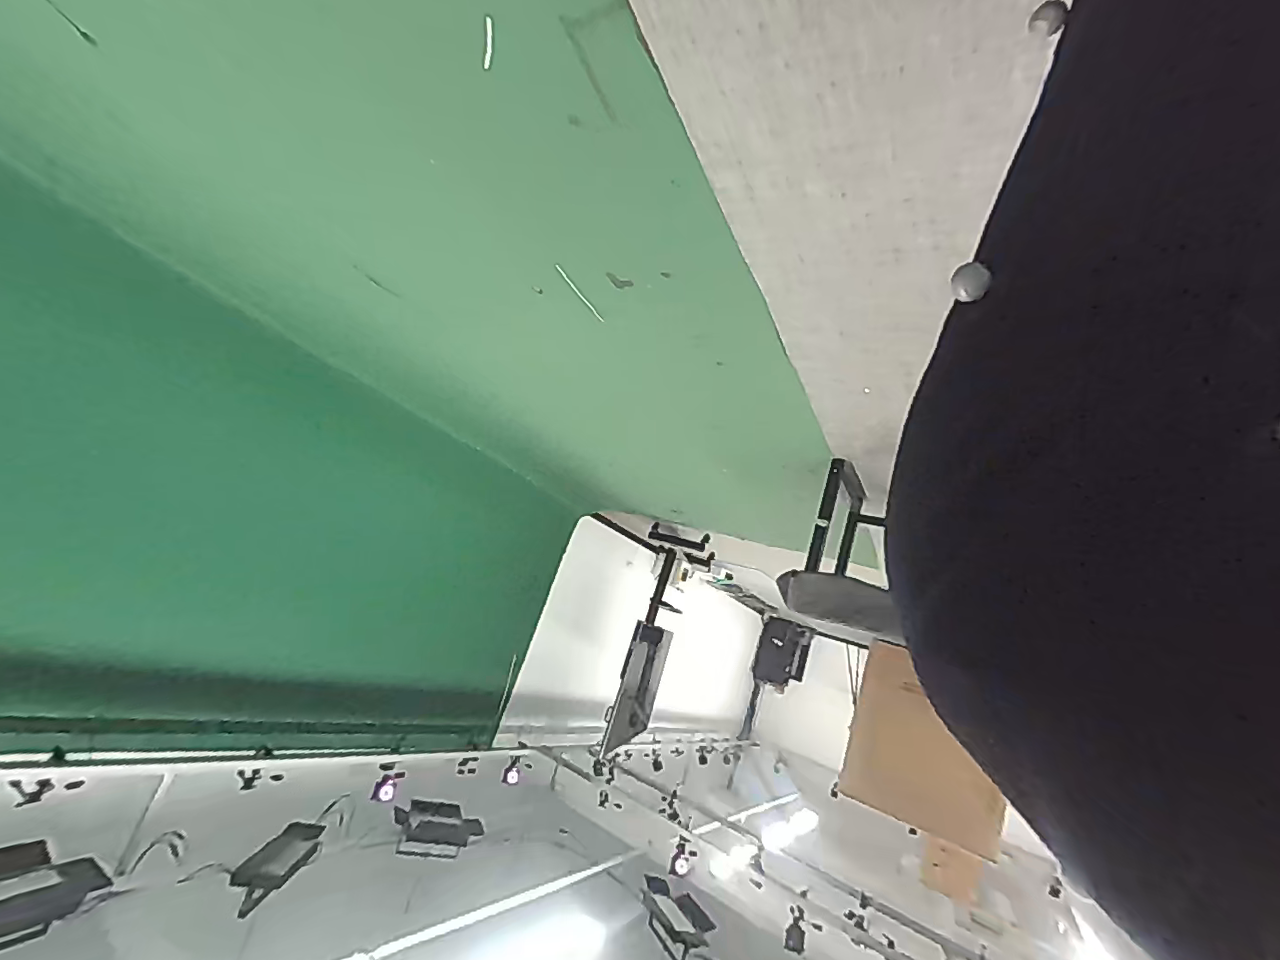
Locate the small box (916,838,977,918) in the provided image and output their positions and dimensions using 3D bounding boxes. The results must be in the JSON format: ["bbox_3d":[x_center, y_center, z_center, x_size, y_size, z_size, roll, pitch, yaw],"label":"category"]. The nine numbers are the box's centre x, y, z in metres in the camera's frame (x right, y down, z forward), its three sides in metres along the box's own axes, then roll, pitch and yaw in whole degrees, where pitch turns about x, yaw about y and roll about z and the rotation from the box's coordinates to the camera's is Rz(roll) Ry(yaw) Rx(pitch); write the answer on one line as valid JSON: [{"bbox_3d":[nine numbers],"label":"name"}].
[{"bbox_3d":[1.105,1.422,1.947,0.168,0.176,0.179,9,161,36],"label":"small box"}]
